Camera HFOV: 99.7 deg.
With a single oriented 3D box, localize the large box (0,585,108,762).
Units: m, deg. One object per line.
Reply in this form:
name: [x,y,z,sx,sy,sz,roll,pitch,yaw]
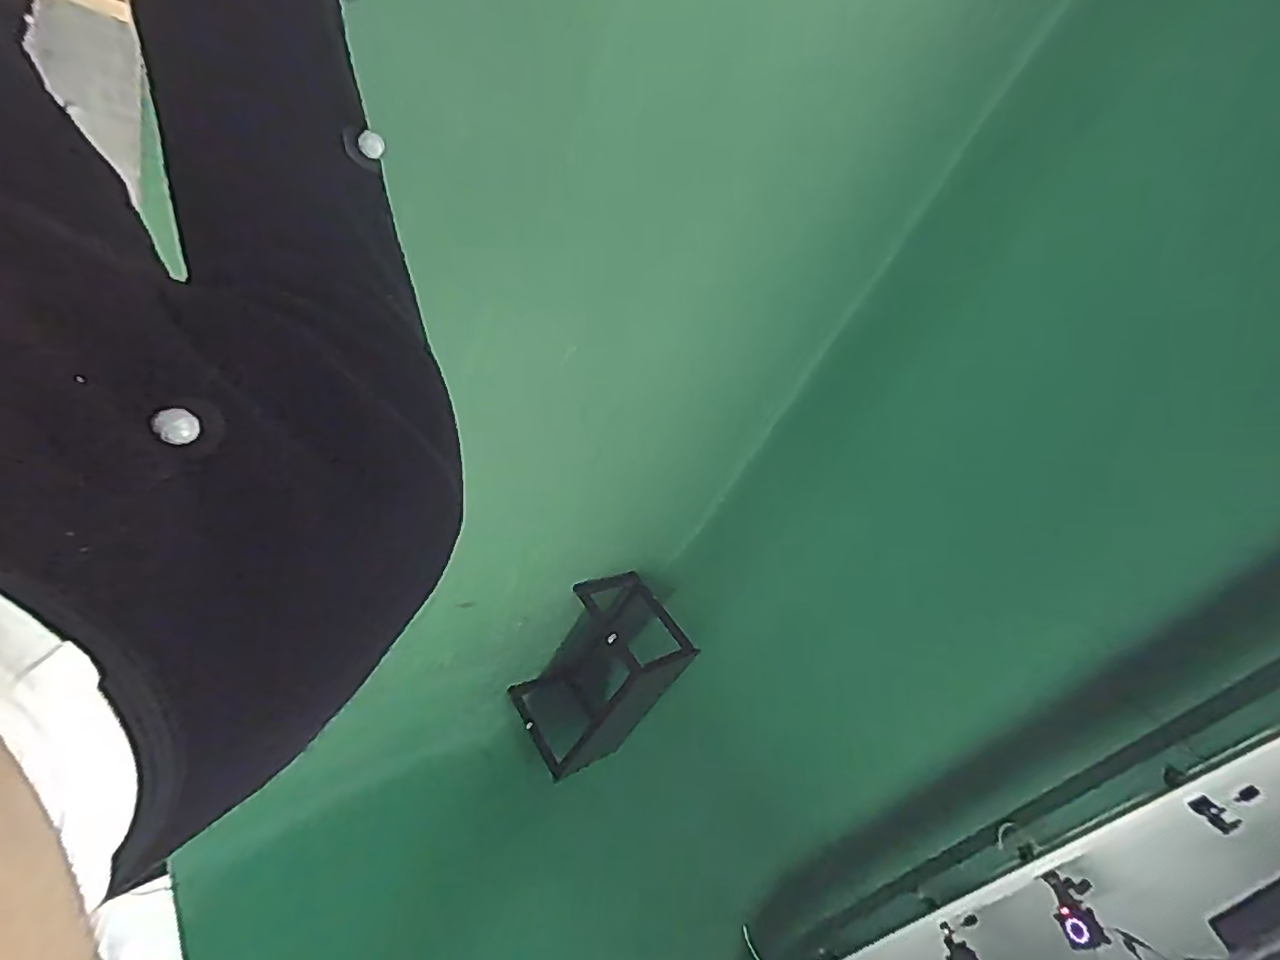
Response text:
large box: [-1.822,0.568,1.485,0.408,0.320,0.320,-31,150,-20]
